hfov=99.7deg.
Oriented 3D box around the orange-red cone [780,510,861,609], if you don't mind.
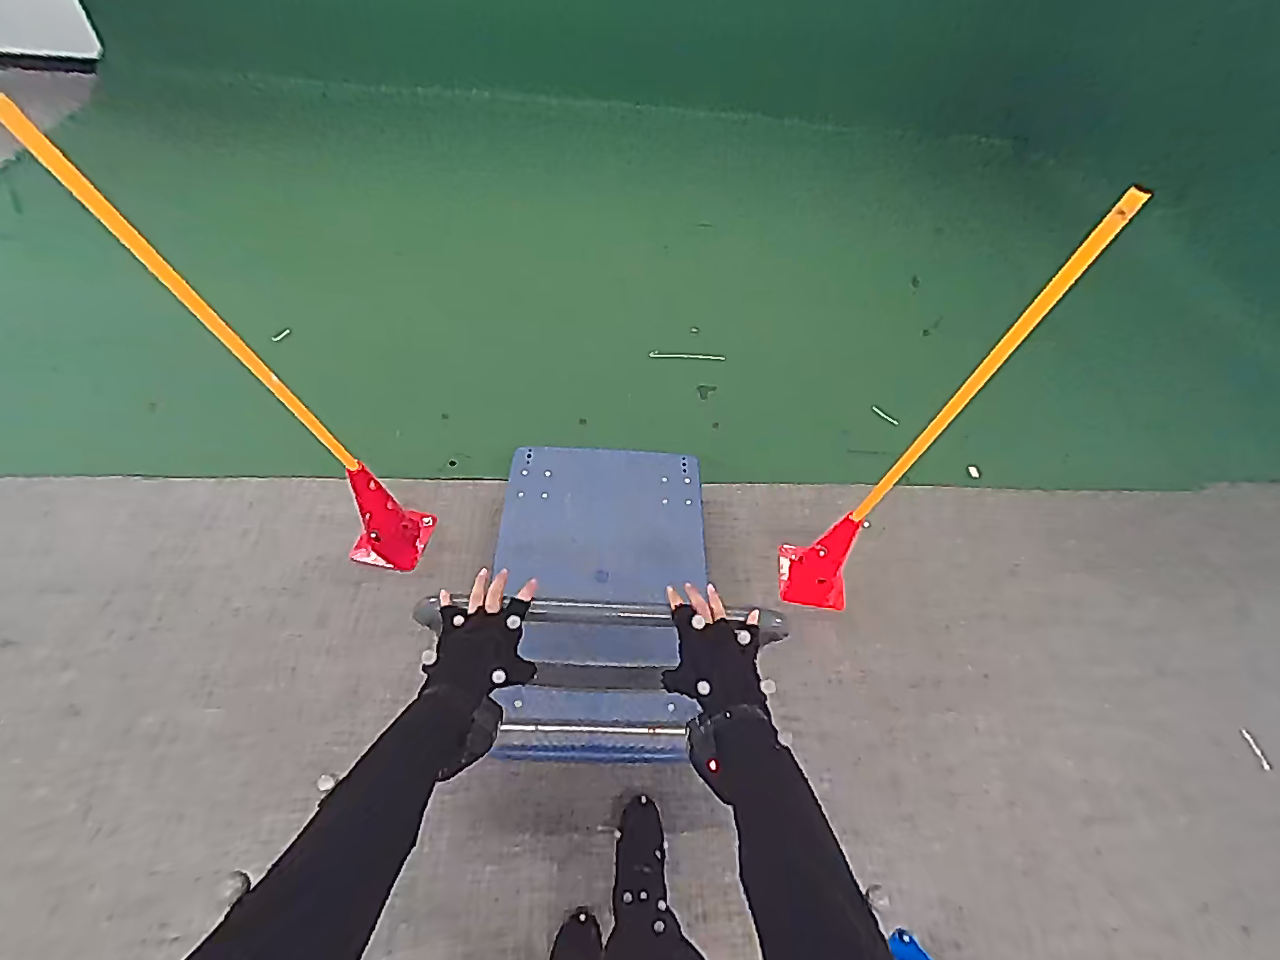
[{"bbox_3d":[0.548,0.199,1.548,0.198,0.360,0.199,10,54,2],"label":"orange-red cone"}]
